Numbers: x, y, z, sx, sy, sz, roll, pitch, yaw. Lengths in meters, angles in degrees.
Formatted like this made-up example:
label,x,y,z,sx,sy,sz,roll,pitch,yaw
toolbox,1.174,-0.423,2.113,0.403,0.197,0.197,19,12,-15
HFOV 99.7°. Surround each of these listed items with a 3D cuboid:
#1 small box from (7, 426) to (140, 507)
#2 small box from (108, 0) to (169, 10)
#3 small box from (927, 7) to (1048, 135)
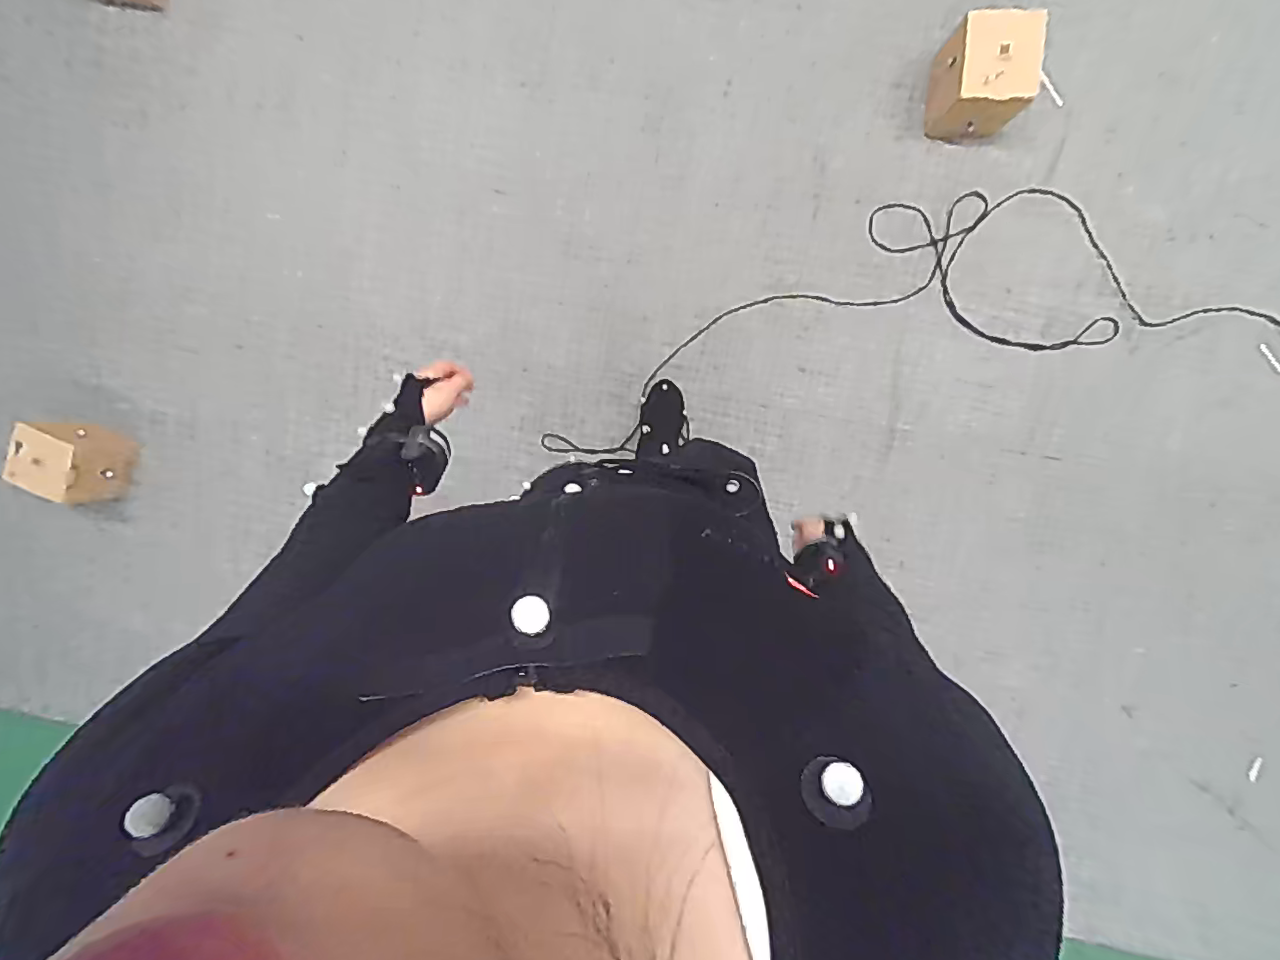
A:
label,x,y,z,sx,sy,sz,roll,pitch,yaw
small box,-1.533,-0.046,1.475,0.179,0.176,0.168,23,98,0
small box,-1.299,-1.298,1.315,0.179,0.176,0.168,11,98,1
small box,0.773,-0.915,1.221,0.168,0.176,0.179,2,98,3
